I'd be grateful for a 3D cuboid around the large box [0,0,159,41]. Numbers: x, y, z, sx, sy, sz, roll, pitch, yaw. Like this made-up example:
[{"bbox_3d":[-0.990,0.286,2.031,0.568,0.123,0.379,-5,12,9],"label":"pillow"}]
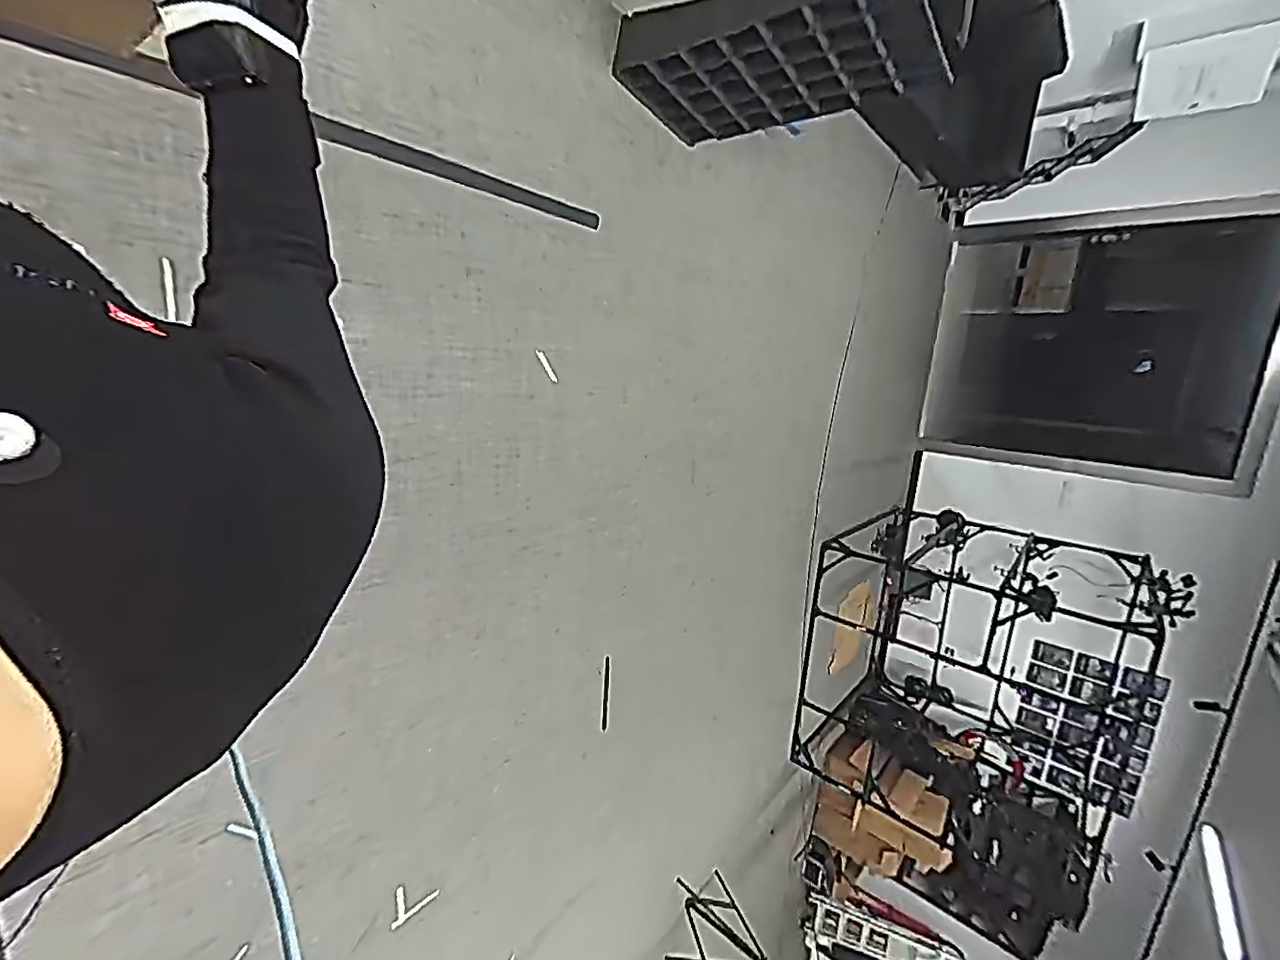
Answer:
[{"bbox_3d":[-0.522,-0.508,0.266,0.408,0.320,0.320,-13,118,-49],"label":"large box"}]
